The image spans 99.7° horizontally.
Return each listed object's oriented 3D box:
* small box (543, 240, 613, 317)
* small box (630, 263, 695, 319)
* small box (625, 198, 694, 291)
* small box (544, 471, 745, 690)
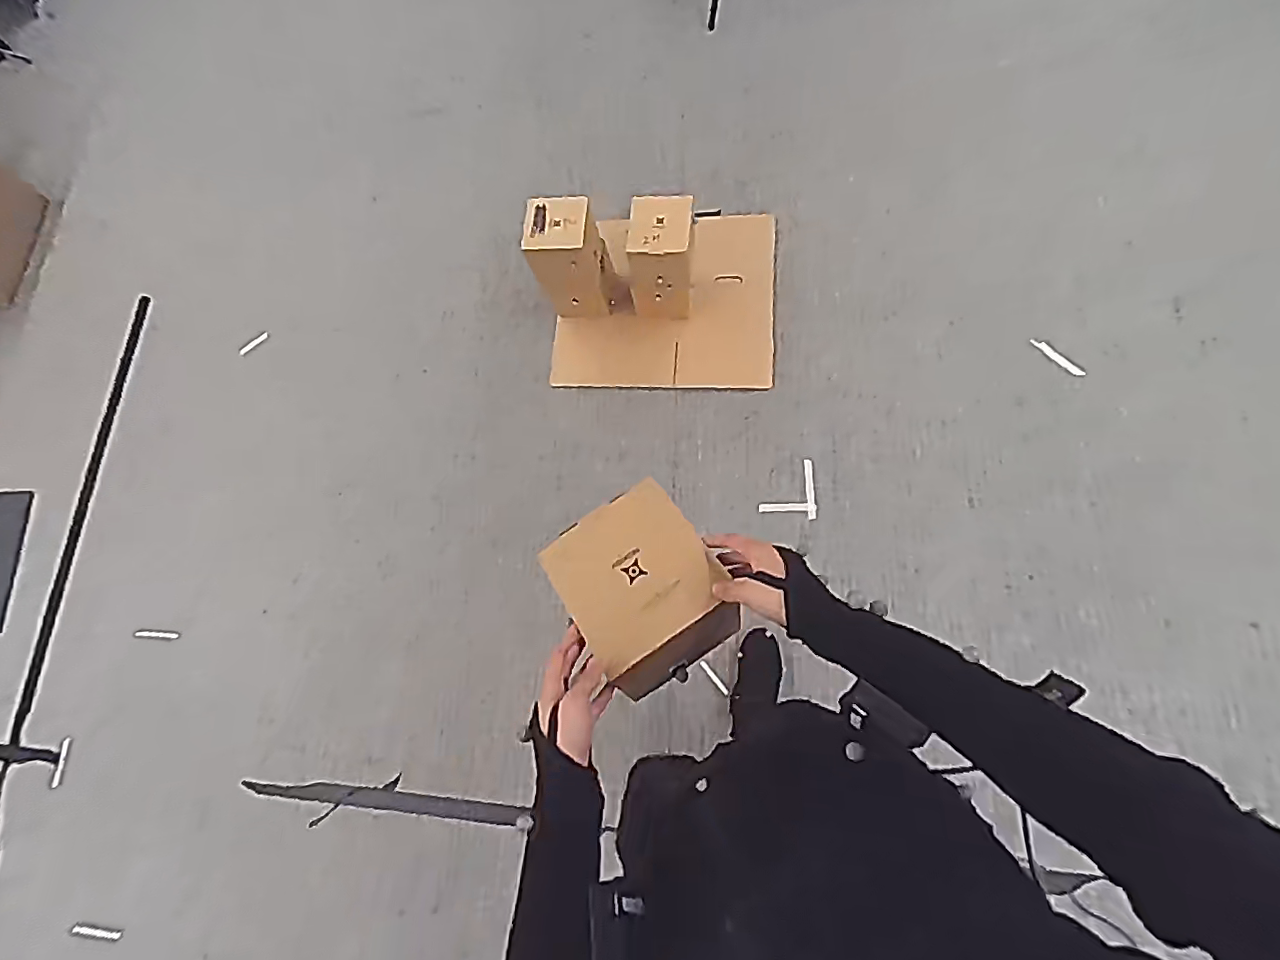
[{"bbox_3d":[-0.188,-0.630,1.703,0.179,0.176,0.168,2,76,10],"label":"small box"},{"bbox_3d":[0.074,-0.610,1.662,0.179,0.176,0.168,4,77,9],"label":"small box"},{"bbox_3d":[0.060,-0.652,1.502,0.168,0.176,0.179,4,77,9],"label":"small box"},{"bbox_3d":[0.011,0.128,0.661,0.168,0.176,0.179,-32,60,-8],"label":"small box"}]
